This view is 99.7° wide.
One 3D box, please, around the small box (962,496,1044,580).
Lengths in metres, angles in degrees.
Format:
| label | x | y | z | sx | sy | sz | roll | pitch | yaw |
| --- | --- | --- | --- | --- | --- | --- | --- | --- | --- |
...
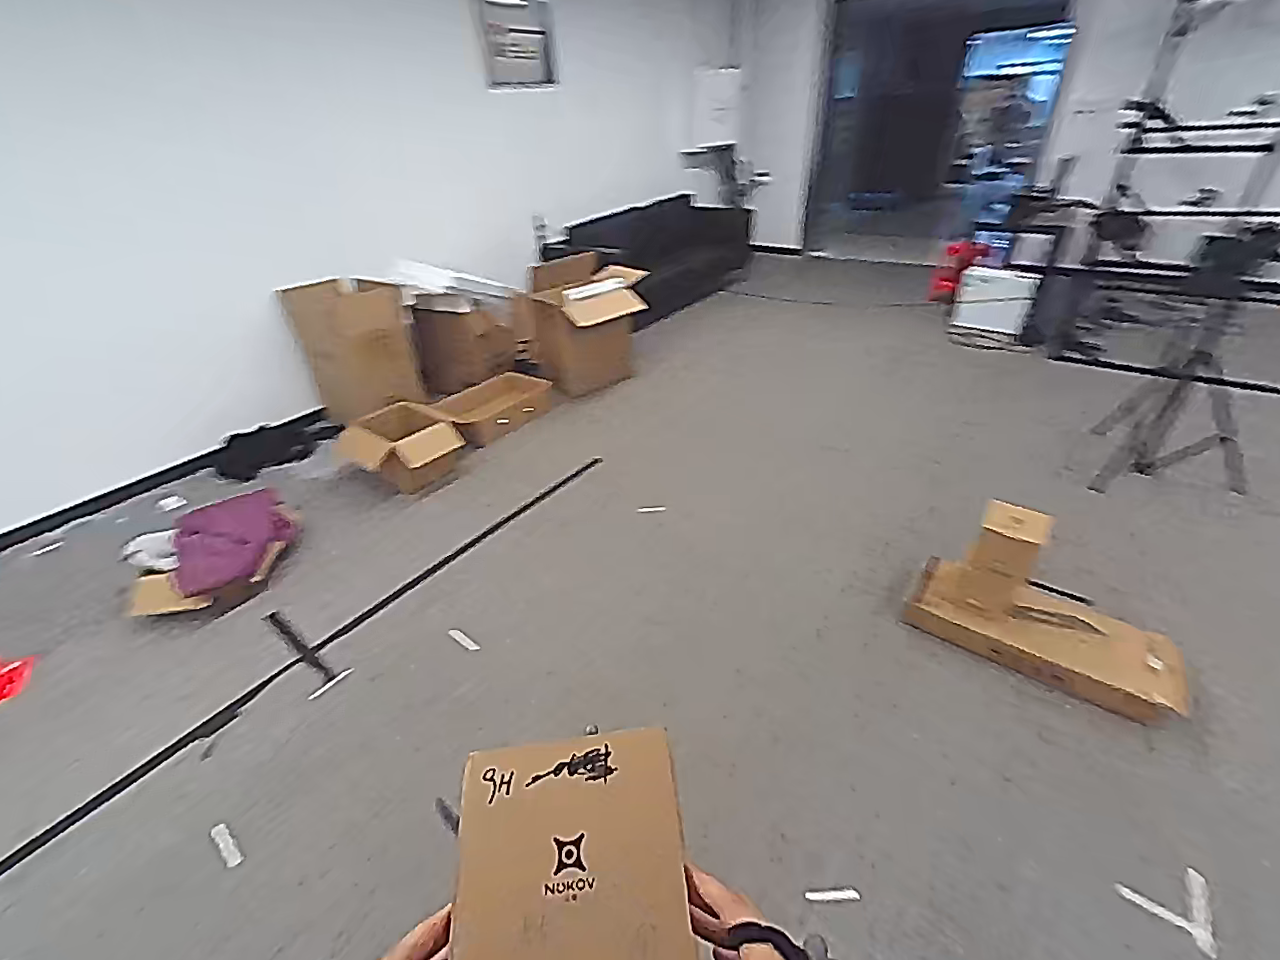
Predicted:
| label | x | y | z | sx | sy | sz | roll | pitch | yaw |
| --- | --- | --- | --- | --- | --- | --- | --- | --- | --- |
| small box | 1.153 | 0.183 | 1.723 | 0.168 | 0.176 | 0.179 | 21 | 41 | 32 |

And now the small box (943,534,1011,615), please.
| label | x | y | z | sx | sy | sz | roll | pitch | yaw |
| --- | --- | --- | --- | --- | --- | --- | --- | --- | --- |
| small box | 1.142 | 0.317 | 1.820 | 0.168 | 0.176 | 0.179 | 20 | 41 | 31 |
